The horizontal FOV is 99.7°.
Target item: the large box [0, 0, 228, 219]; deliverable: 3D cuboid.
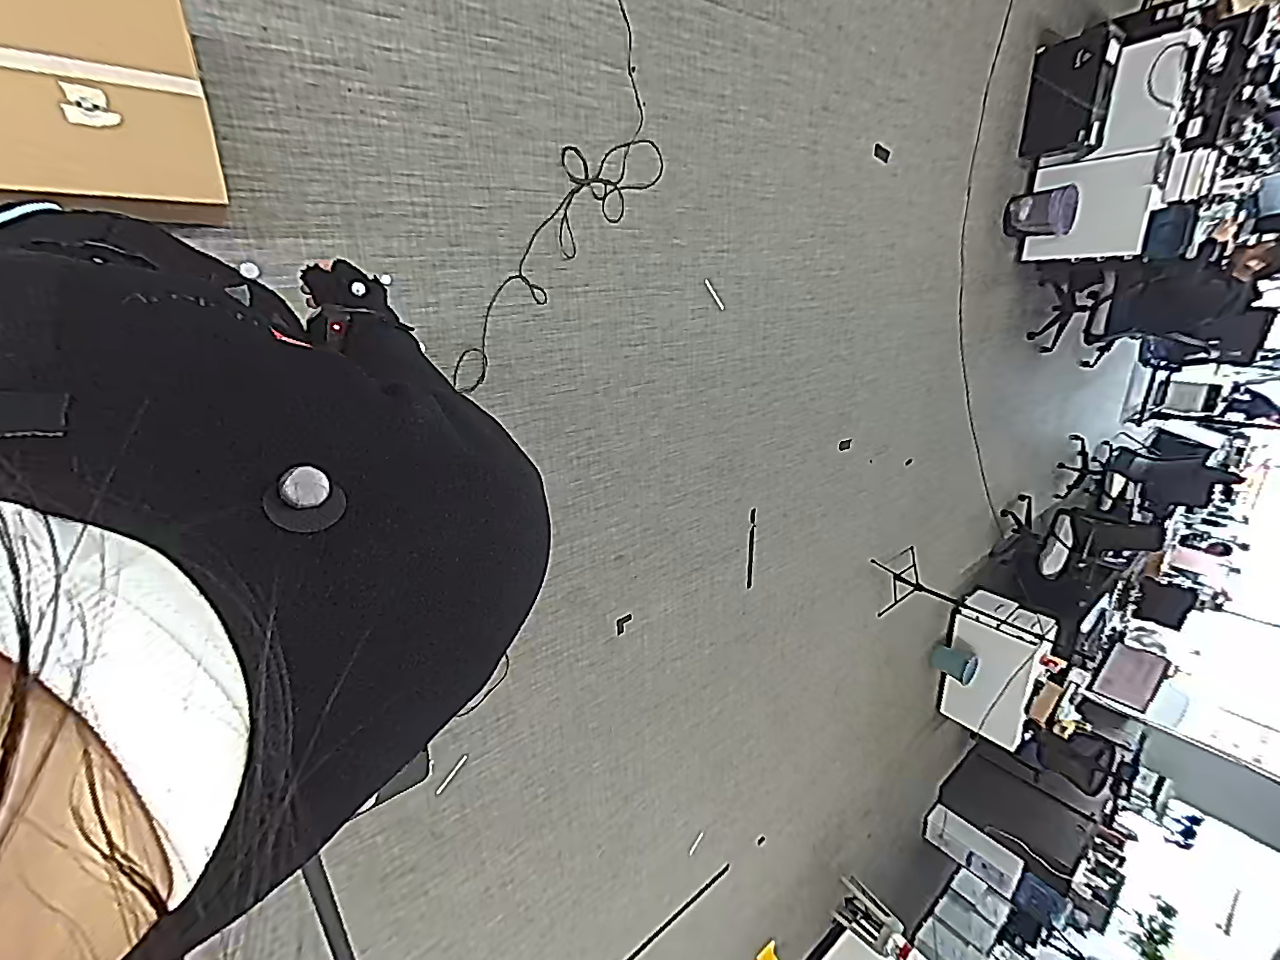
[{"bbox_3d":[-0.914,-0.588,0.814,0.408,0.320,0.320,-16,115,-36],"label":"large box"}]
